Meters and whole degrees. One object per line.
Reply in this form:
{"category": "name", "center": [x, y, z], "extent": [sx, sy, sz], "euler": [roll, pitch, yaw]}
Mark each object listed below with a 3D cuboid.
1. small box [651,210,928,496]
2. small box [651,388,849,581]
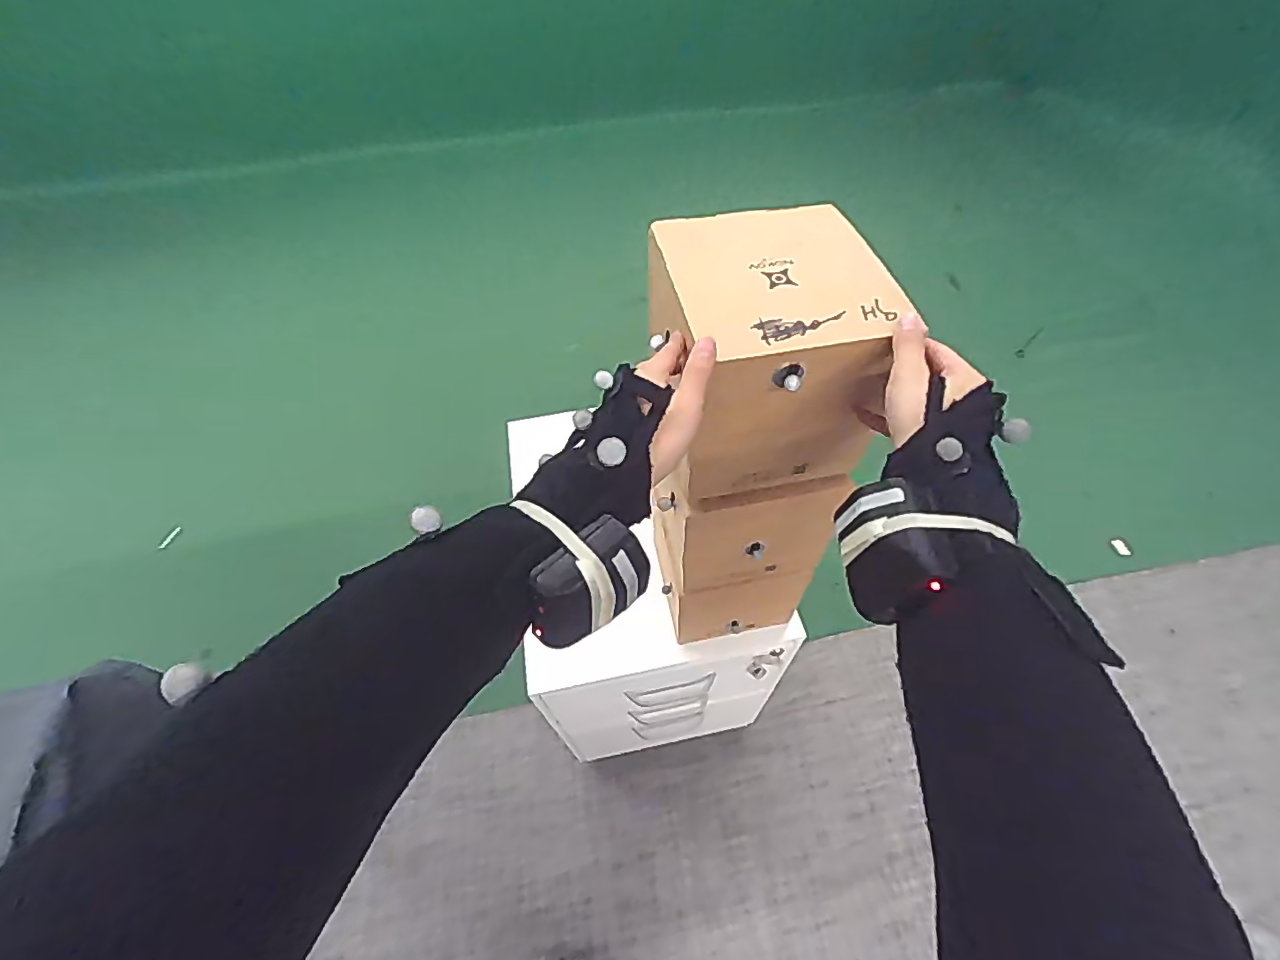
{"category": "small box", "center": [0.105, -0.110, 0.481], "extent": [0.168, 0.176, 0.179], "euler": [-9, 55, -7]}
{"category": "small box", "center": [0.109, 0.002, 0.617], "extent": [0.168, 0.176, 0.179], "euler": [-9, 54, -4]}
